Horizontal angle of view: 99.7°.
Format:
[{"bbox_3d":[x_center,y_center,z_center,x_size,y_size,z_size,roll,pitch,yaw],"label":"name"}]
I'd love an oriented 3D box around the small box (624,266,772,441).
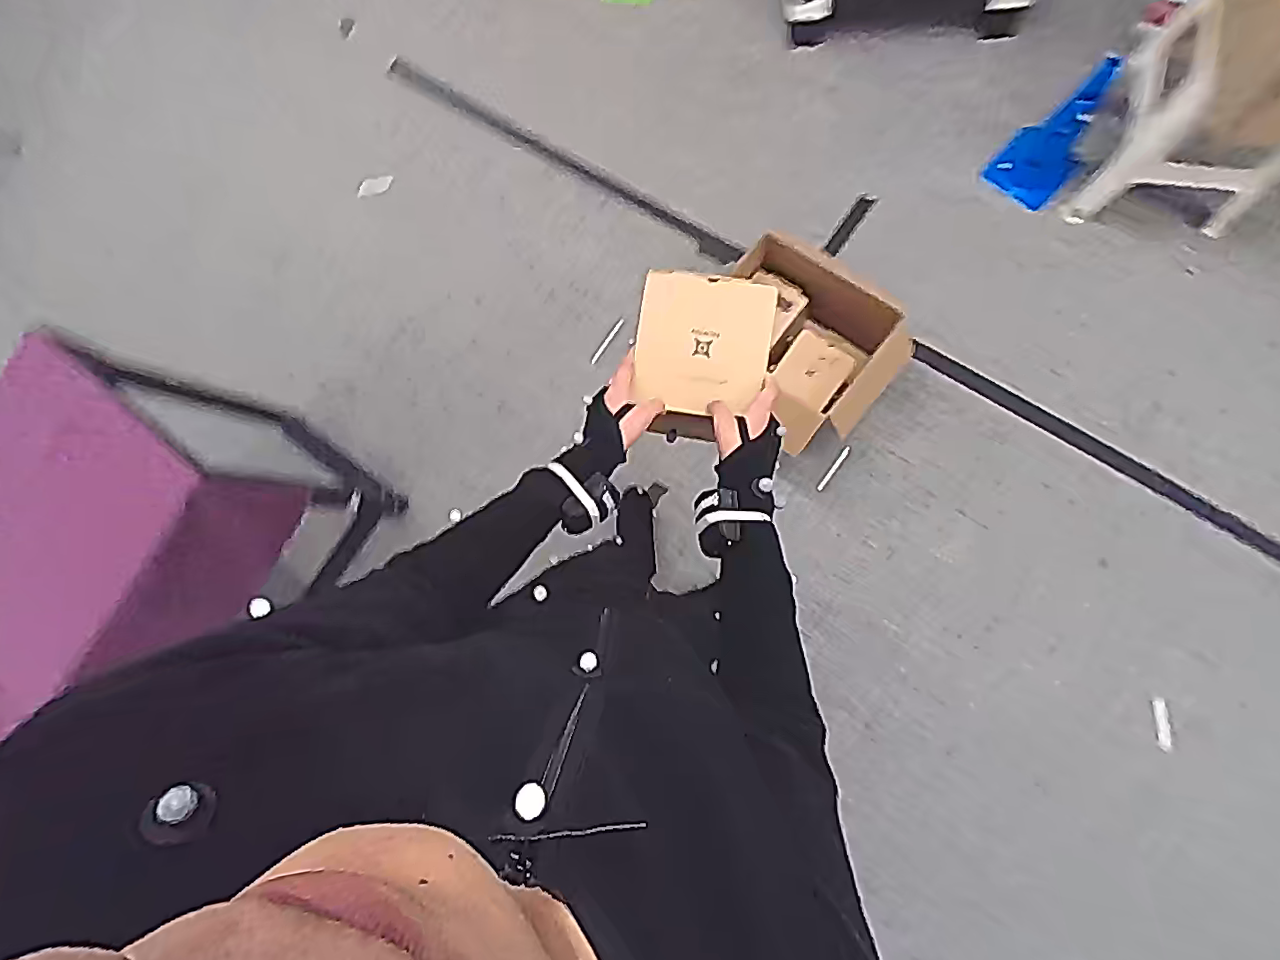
[{"bbox_3d":[0.072,-0.164,0.748,0.168,0.176,0.179,9,84,1],"label":"small box"}]
